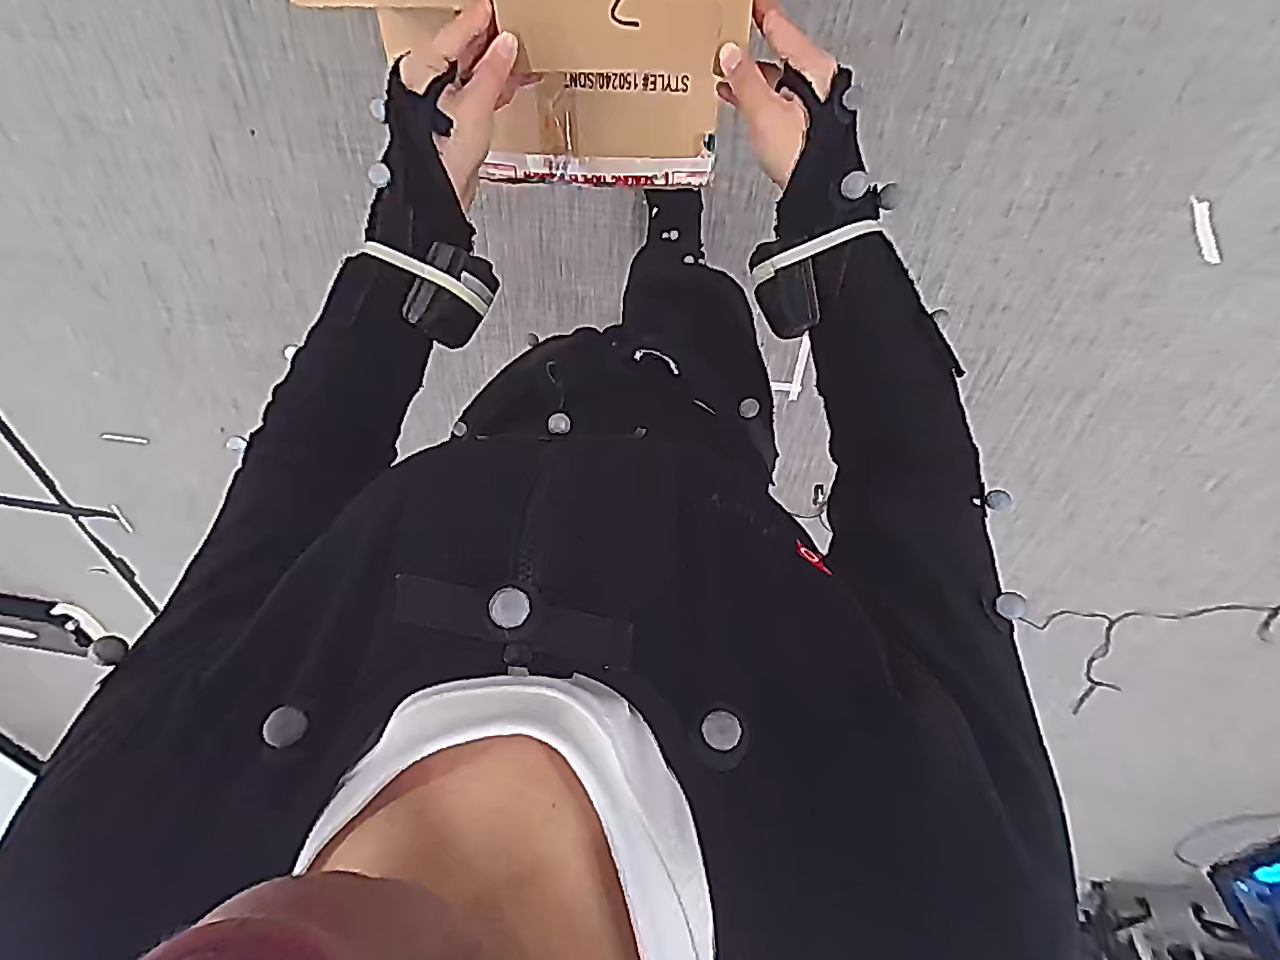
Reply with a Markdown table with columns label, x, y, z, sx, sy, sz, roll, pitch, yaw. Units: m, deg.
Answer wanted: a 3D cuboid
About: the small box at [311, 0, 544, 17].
| label | x | y | z | sx | sy | sz | roll | pitch | yaw |
| --- | --- | --- | --- | --- | --- | --- | --- | --- | --- |
| small box | -0.200 | -0.516 | 0.473 | 0.179 | 0.176 | 0.168 | 6 | 130 | 6 |
